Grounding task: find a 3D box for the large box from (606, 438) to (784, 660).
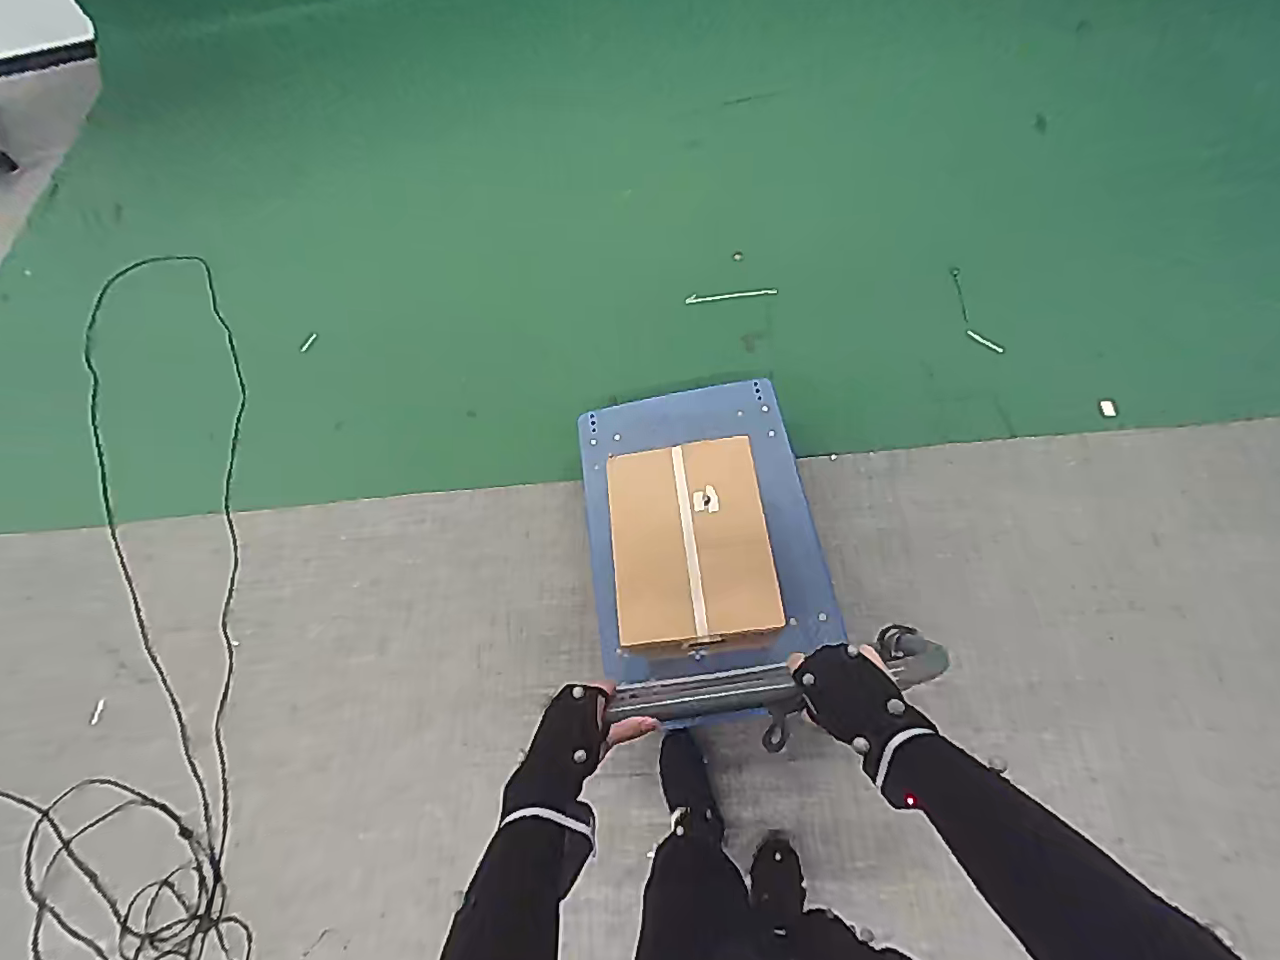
[{"bbox_3d":[0.121,0.171,1.228,0.320,0.320,0.408,-9,65,6],"label":"large box"}]
